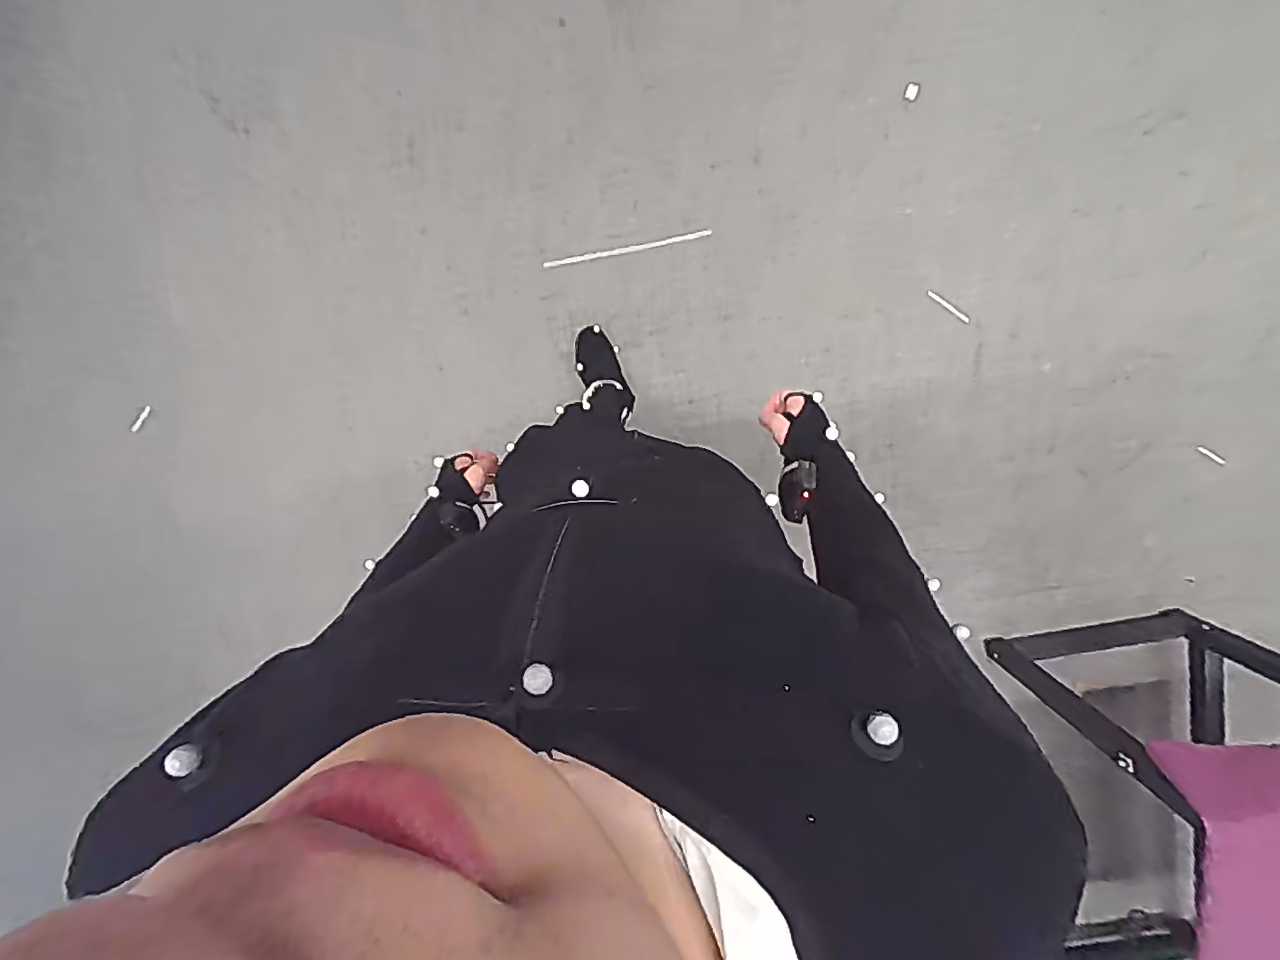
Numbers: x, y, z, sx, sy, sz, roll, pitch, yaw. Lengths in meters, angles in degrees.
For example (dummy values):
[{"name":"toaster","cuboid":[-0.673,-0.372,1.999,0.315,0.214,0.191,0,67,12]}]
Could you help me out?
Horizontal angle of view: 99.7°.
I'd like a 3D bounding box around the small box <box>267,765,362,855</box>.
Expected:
[{"name":"small box","cuboid":[-1.015,1.032,1.701,0.179,0.176,0.168,-11,99,2]}]
